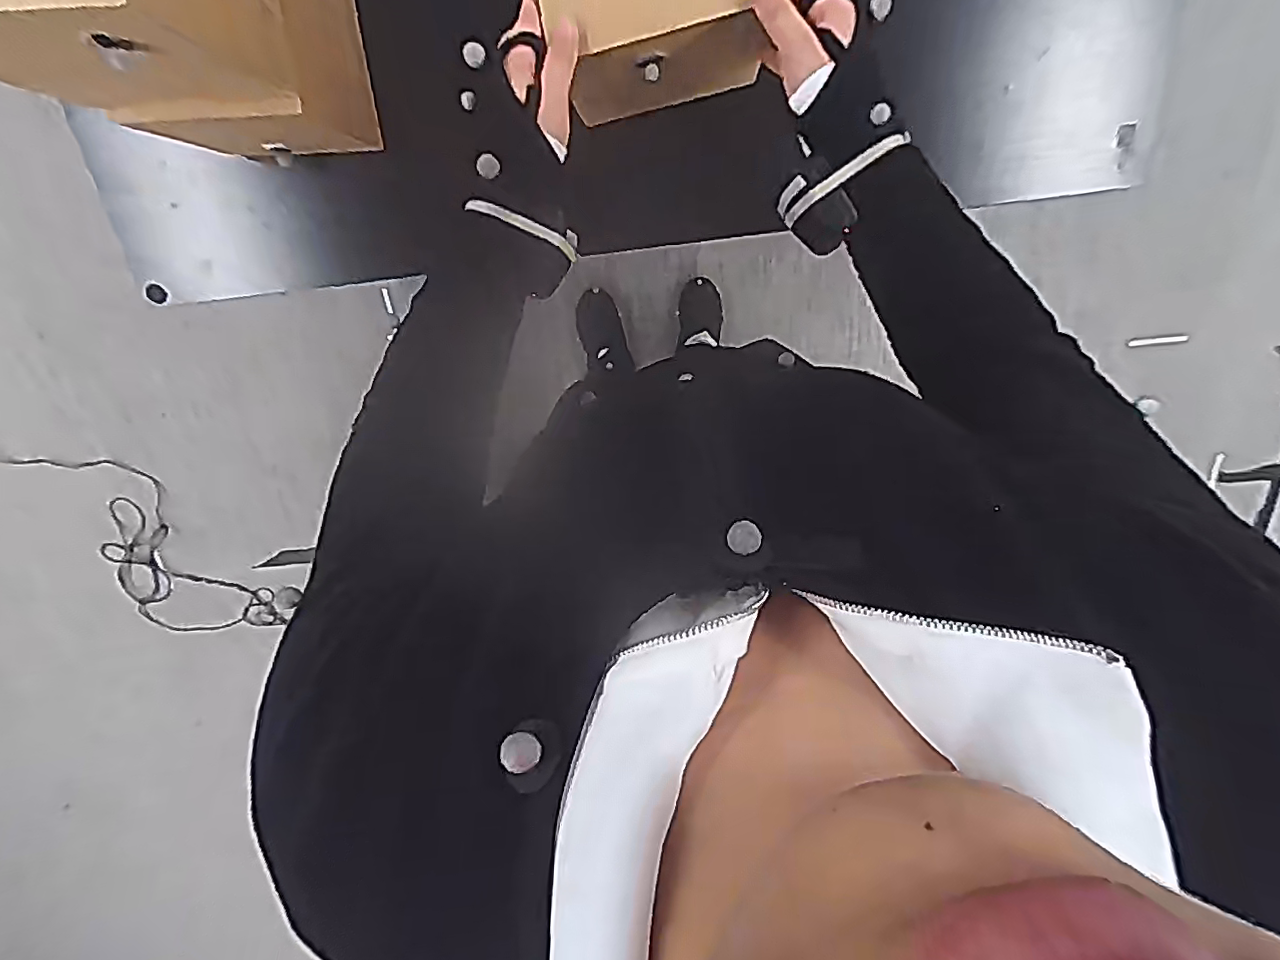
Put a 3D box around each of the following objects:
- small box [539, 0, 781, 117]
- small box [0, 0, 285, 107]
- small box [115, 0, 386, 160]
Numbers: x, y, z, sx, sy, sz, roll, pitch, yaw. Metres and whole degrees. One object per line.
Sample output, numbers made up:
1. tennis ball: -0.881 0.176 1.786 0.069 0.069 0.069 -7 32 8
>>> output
1. small box: 0.010 -0.424 0.439 0.179 0.176 0.168 -9 110 8
2. small box: -0.368 -0.360 0.347 0.179 0.176 0.168 -3 111 1
3. small box: -0.365 -0.416 0.503 0.168 0.176 0.179 -3 113 1
